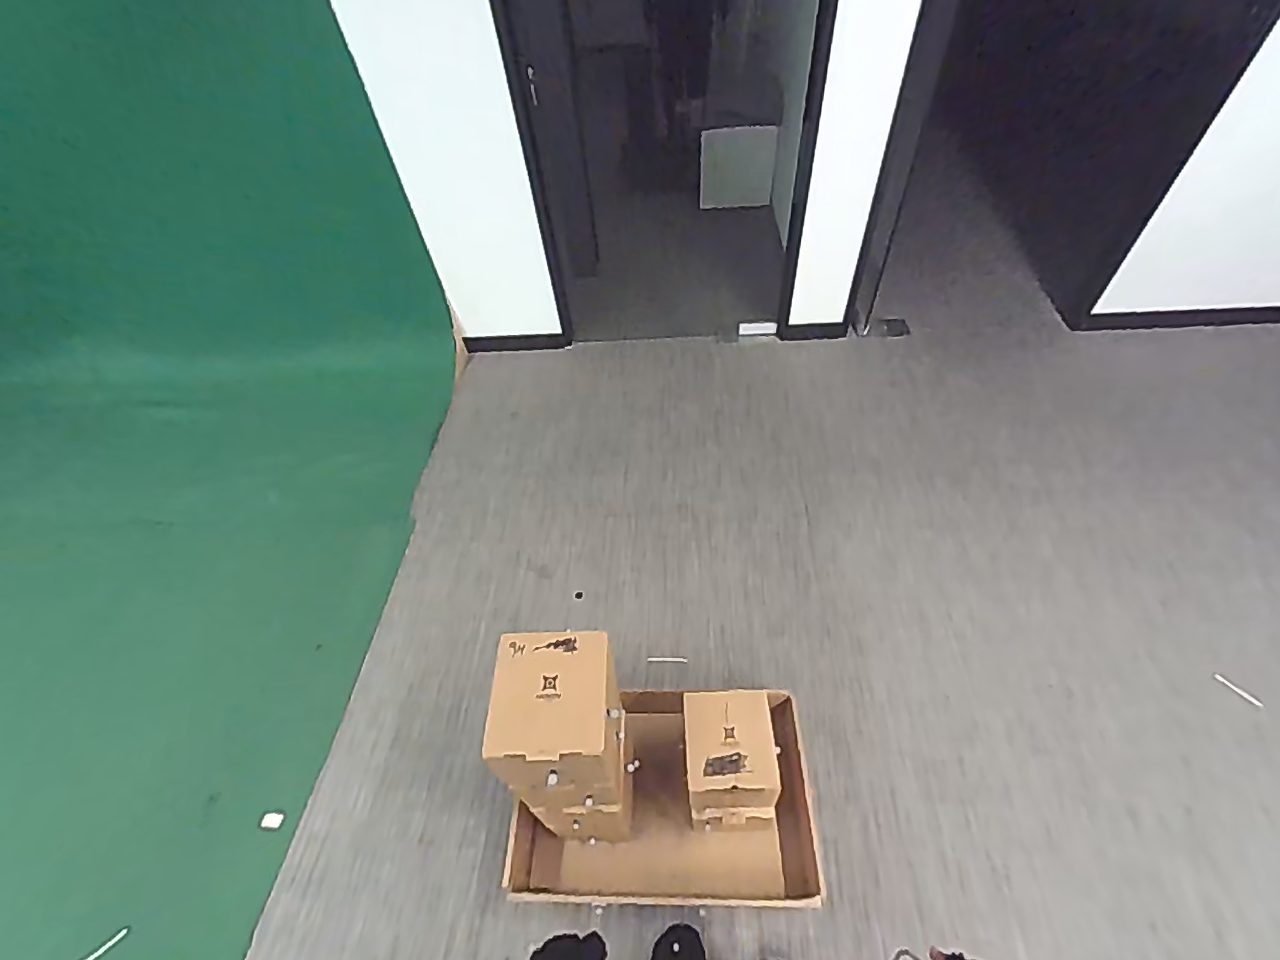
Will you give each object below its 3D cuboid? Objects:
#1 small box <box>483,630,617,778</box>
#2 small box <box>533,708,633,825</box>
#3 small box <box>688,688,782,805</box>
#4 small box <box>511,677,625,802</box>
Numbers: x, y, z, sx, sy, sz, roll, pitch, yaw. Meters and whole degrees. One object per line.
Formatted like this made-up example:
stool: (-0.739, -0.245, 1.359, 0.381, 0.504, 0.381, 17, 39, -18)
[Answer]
small box: (-0.123, 0.345, 0.823, 0.168, 0.176, 0.179, -2, 51, 1)
small box: (-0.103, 0.563, 1.066, 0.168, 0.176, 0.179, -1, 50, 3)
small box: (0.179, 0.526, 1.062, 0.168, 0.176, 0.179, 0, 50, 5)
small box: (-0.115, 0.453, 0.946, 0.168, 0.176, 0.179, -2, 50, 2)
